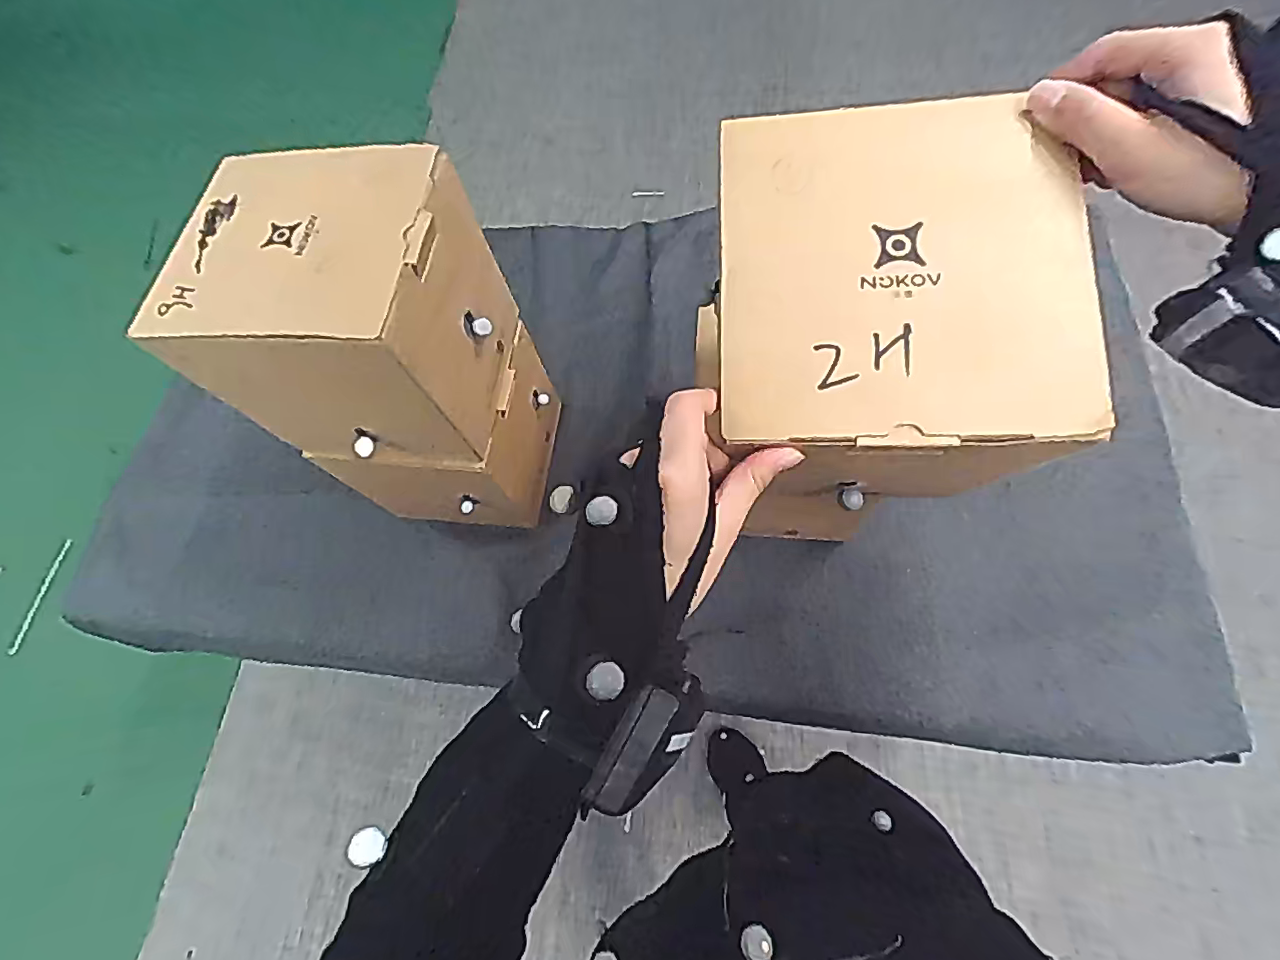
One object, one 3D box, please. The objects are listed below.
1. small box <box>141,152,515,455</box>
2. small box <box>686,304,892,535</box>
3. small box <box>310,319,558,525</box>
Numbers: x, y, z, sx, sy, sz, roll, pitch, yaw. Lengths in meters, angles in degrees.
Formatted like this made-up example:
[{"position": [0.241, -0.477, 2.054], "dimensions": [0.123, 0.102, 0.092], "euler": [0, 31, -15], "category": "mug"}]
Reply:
[{"position": [-0.216, -0.129, 0.435], "dimensions": [0.179, 0.176, 0.168], "euler": [2, 67, 7], "category": "small box"}, {"position": [0.136, -0.051, 0.541], "dimensions": [0.168, 0.176, 0.179], "euler": [3, 66, 7], "category": "small box"}, {"position": [-0.198, -0.056, 0.582], "dimensions": [0.179, 0.176, 0.168], "euler": [3, 66, 8], "category": "small box"}]
